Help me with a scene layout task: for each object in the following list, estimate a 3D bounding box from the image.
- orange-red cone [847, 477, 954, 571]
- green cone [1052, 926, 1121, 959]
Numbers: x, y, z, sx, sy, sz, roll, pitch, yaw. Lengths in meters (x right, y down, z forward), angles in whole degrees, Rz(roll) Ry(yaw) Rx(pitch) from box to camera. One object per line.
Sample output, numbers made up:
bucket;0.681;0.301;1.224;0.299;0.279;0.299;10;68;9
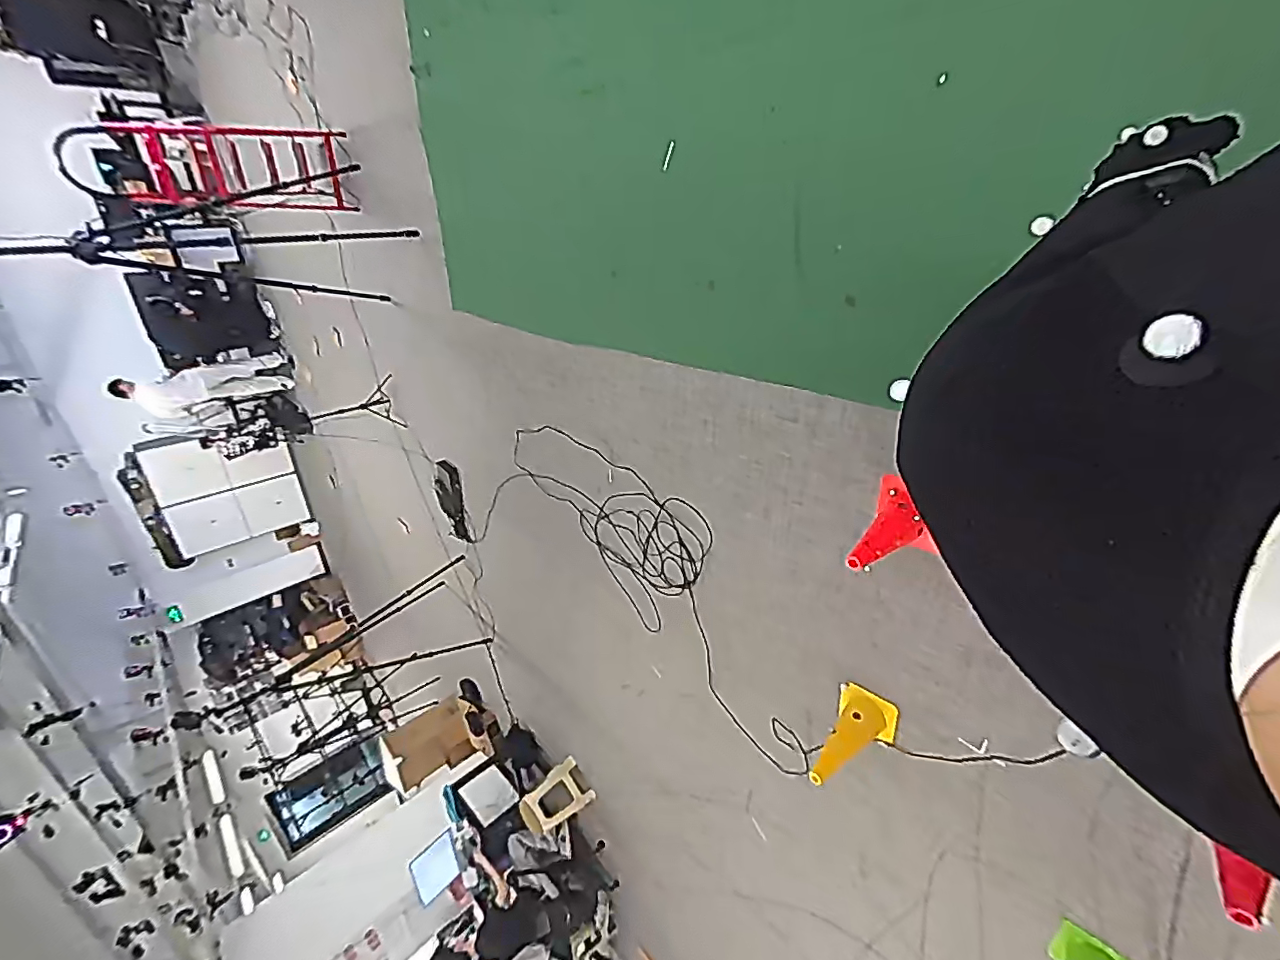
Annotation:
orange-red cone;0.665;0.157;1.460;0.198;0.360;0.199;25;127;41
green cone;1.228;1.497;1.490;0.202;0.368;0.200;23;124;43
